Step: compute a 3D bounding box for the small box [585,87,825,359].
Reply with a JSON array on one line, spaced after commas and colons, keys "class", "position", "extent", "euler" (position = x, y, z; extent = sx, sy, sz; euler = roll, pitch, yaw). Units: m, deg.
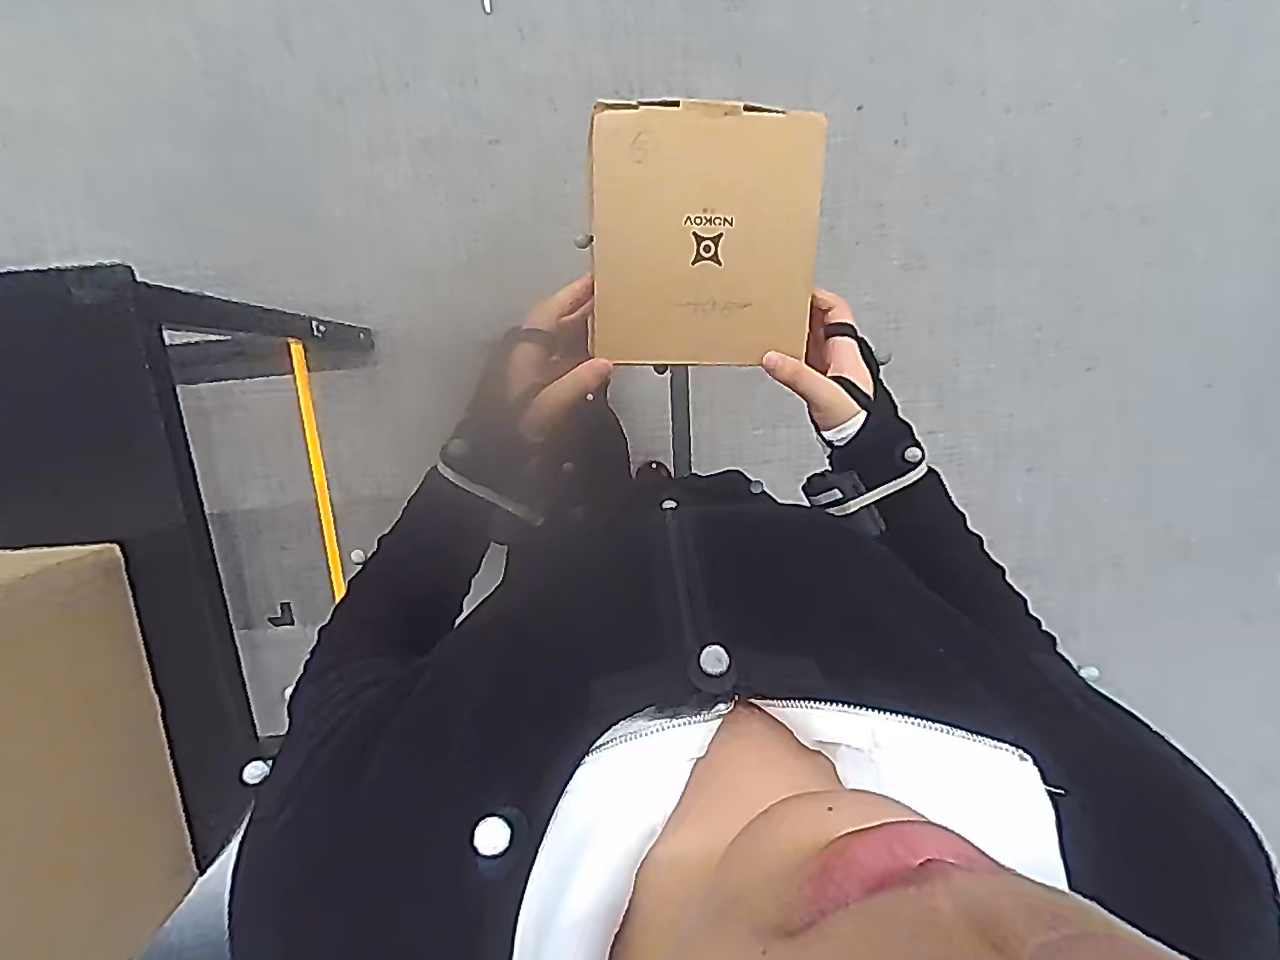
[{"class": "small box", "position": [0.038, -0.198, 0.462], "extent": [0.168, 0.176, 0.179], "euler": [-1, 107, -6]}]
